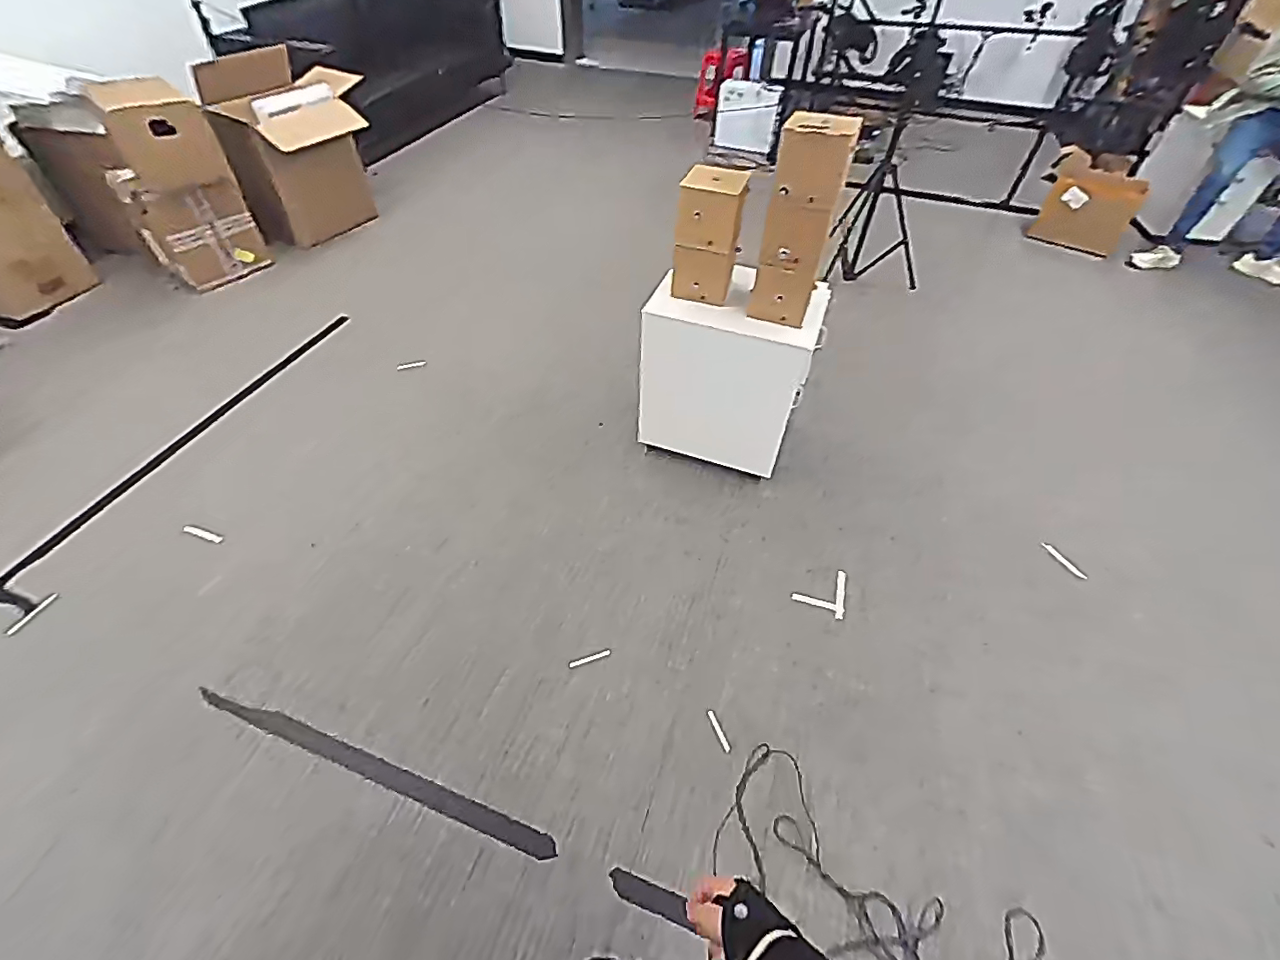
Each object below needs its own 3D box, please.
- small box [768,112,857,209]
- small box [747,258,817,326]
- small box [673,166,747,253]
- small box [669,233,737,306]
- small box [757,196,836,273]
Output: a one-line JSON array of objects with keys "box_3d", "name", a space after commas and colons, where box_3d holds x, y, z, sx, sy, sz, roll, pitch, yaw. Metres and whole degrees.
[{"box_3d": [0.431, -0.806, 1.365, 0.168, 0.176, 0.179, 17, 48, 15], "name": "small box"}, {"box_3d": [0.422, -0.582, 1.606, 0.168, 0.176, 0.179, 16, 51, 14], "name": "small box"}, {"box_3d": [0.197, -0.773, 1.549, 0.168, 0.176, 0.179, 15, 49, 11], "name": "small box"}, {"box_3d": [0.191, -0.668, 1.673, 0.168, 0.176, 0.179, 14, 50, 11], "name": "small box"}, {"box_3d": [0.428, -0.698, 1.490, 0.168, 0.176, 0.179, 16, 50, 14], "name": "small box"}]
